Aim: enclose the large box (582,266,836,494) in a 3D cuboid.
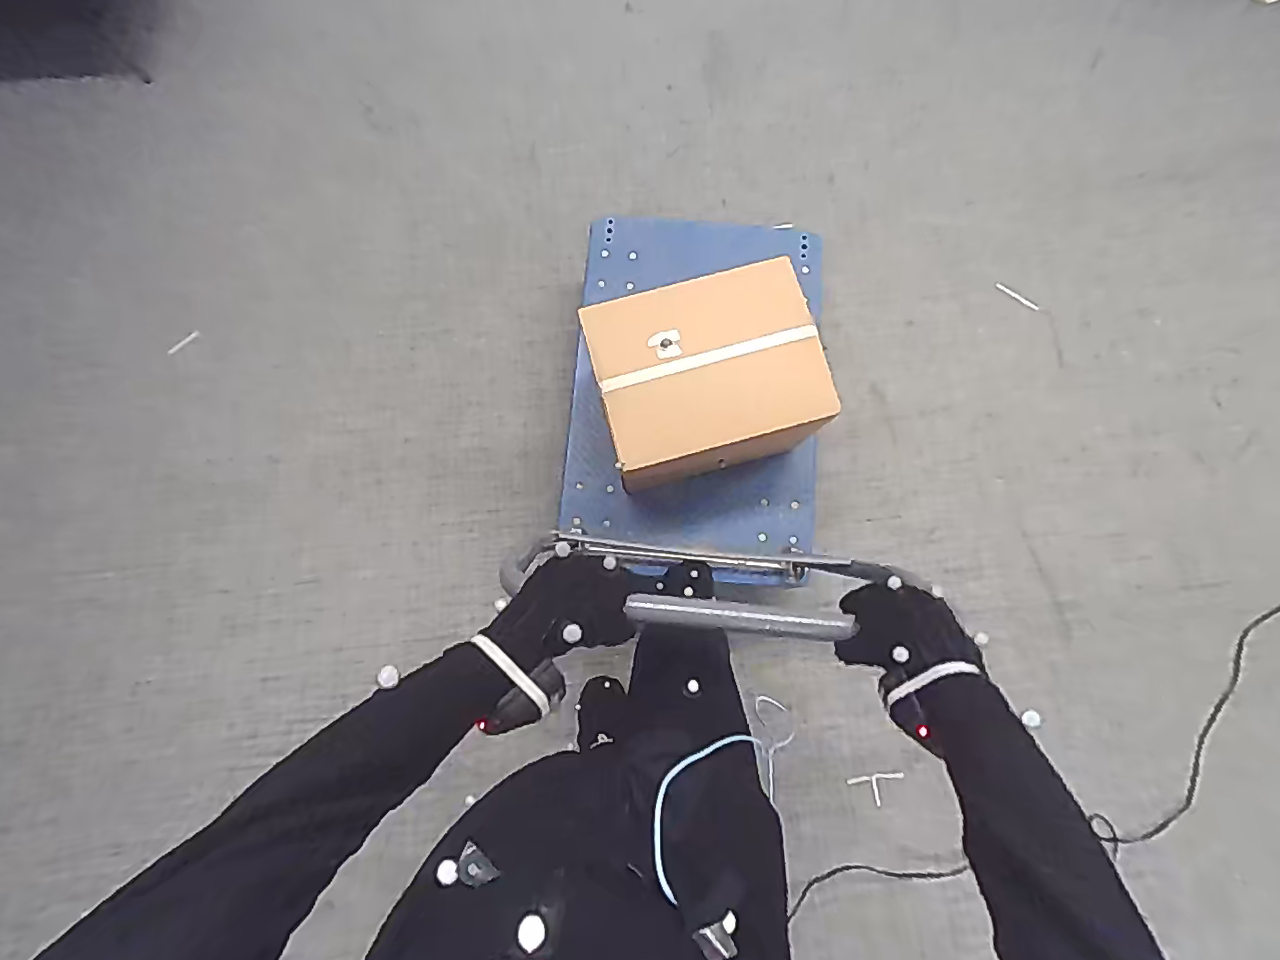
[{"bbox_3d":[0.125,-0.182,1.127,0.408,0.320,0.320,-16,81,-1],"label":"large box"}]
